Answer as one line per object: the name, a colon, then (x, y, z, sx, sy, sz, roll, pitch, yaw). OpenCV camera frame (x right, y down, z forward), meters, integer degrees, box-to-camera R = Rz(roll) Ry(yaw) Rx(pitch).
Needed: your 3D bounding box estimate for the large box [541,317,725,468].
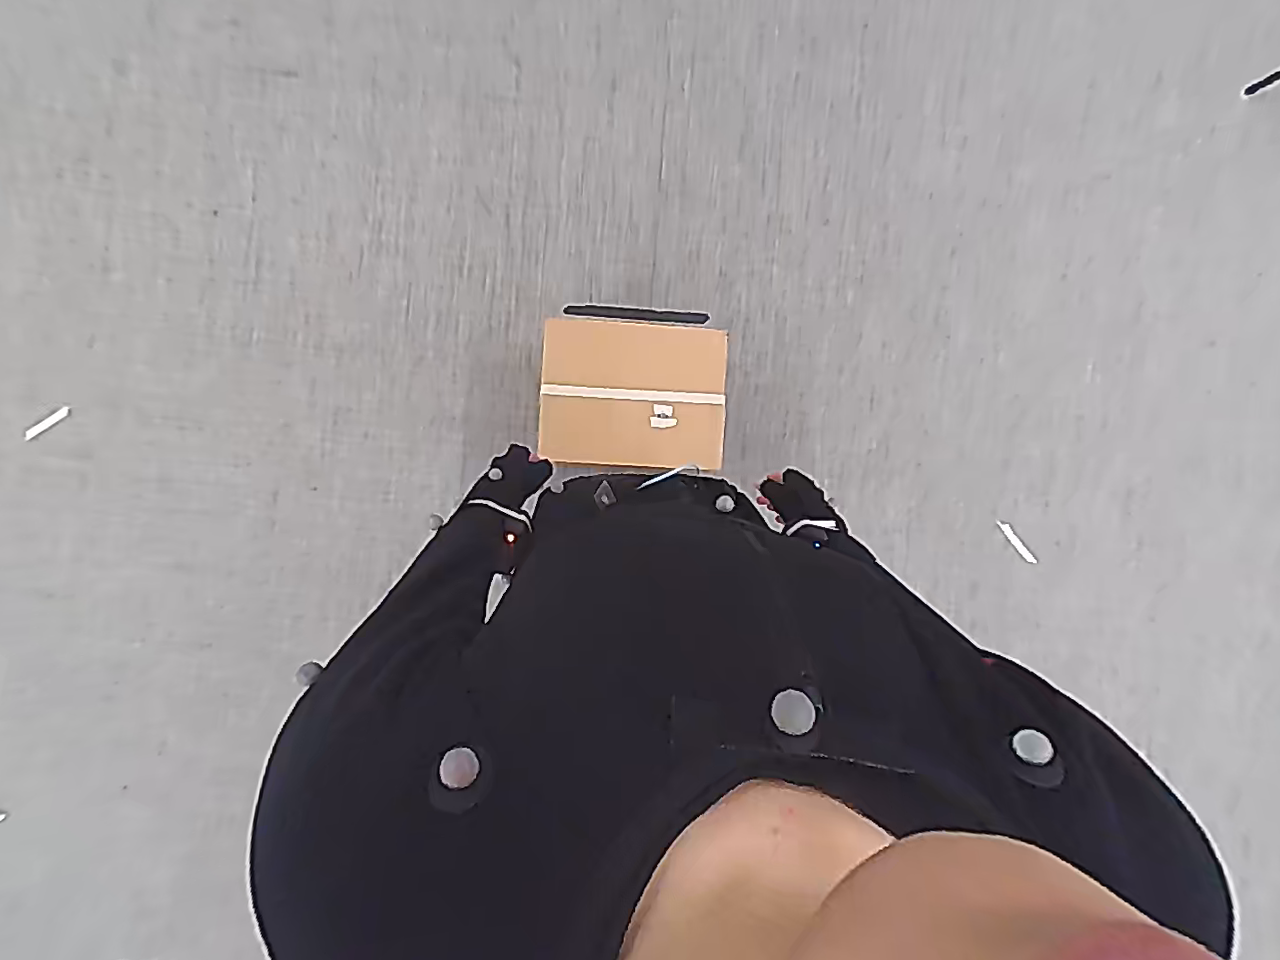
large box: (-0.025, -0.194, 1.342, 0.408, 0.320, 0.320, 3, 90, -4)
